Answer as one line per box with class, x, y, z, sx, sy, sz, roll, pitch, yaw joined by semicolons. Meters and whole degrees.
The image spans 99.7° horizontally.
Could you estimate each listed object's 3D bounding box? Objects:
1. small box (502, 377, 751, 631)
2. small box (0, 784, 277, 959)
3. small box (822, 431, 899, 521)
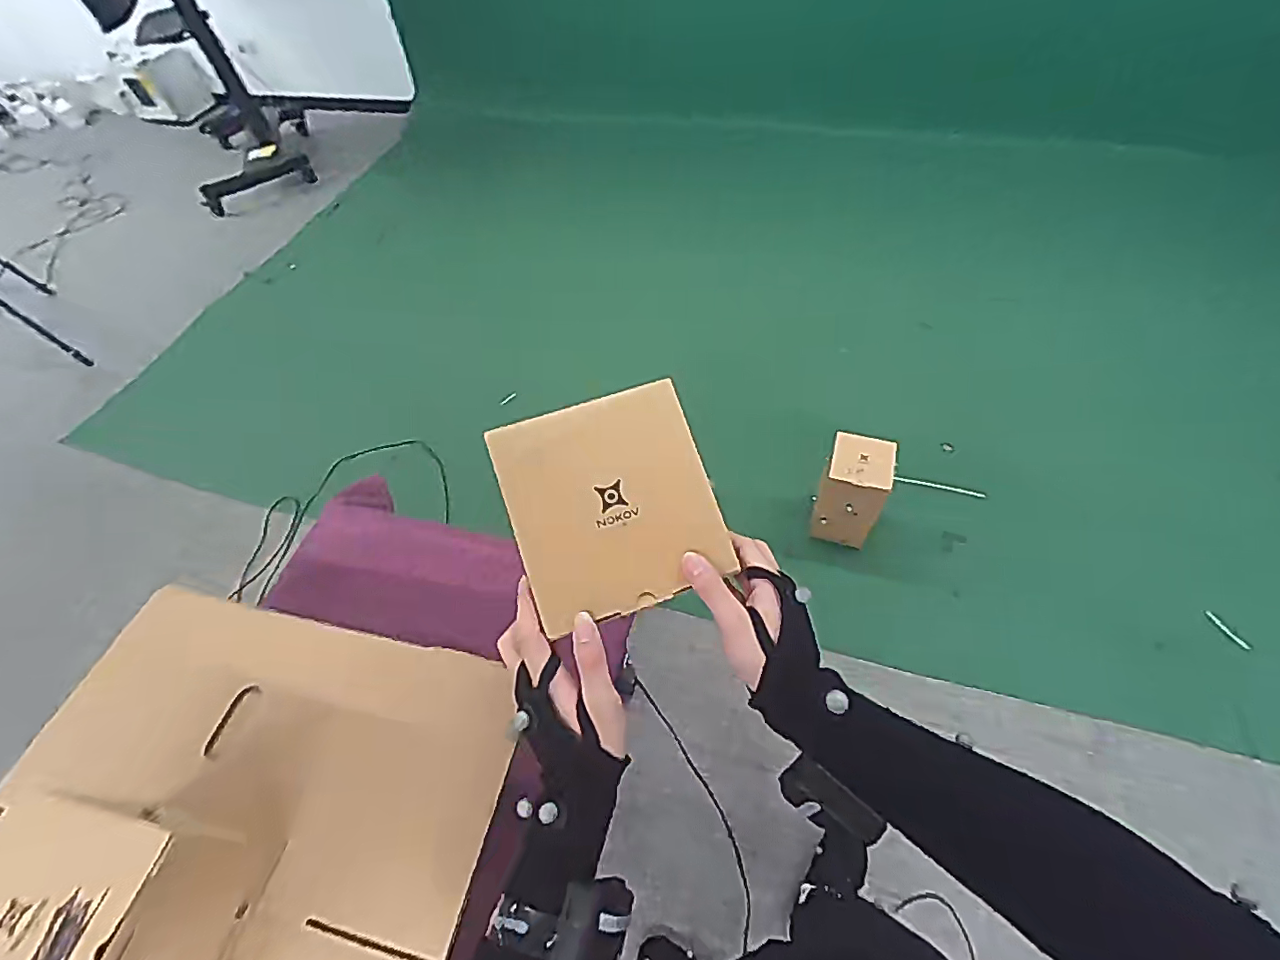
small box;-0.022;0.029;0.515;0.168;0.176;0.179;-18;82;-10
small box;-0.496;0.404;0.503;0.179;0.176;0.168;8;55;11
small box;0.637;-0.010;1.572;0.168;0.176;0.179;14;58;15
